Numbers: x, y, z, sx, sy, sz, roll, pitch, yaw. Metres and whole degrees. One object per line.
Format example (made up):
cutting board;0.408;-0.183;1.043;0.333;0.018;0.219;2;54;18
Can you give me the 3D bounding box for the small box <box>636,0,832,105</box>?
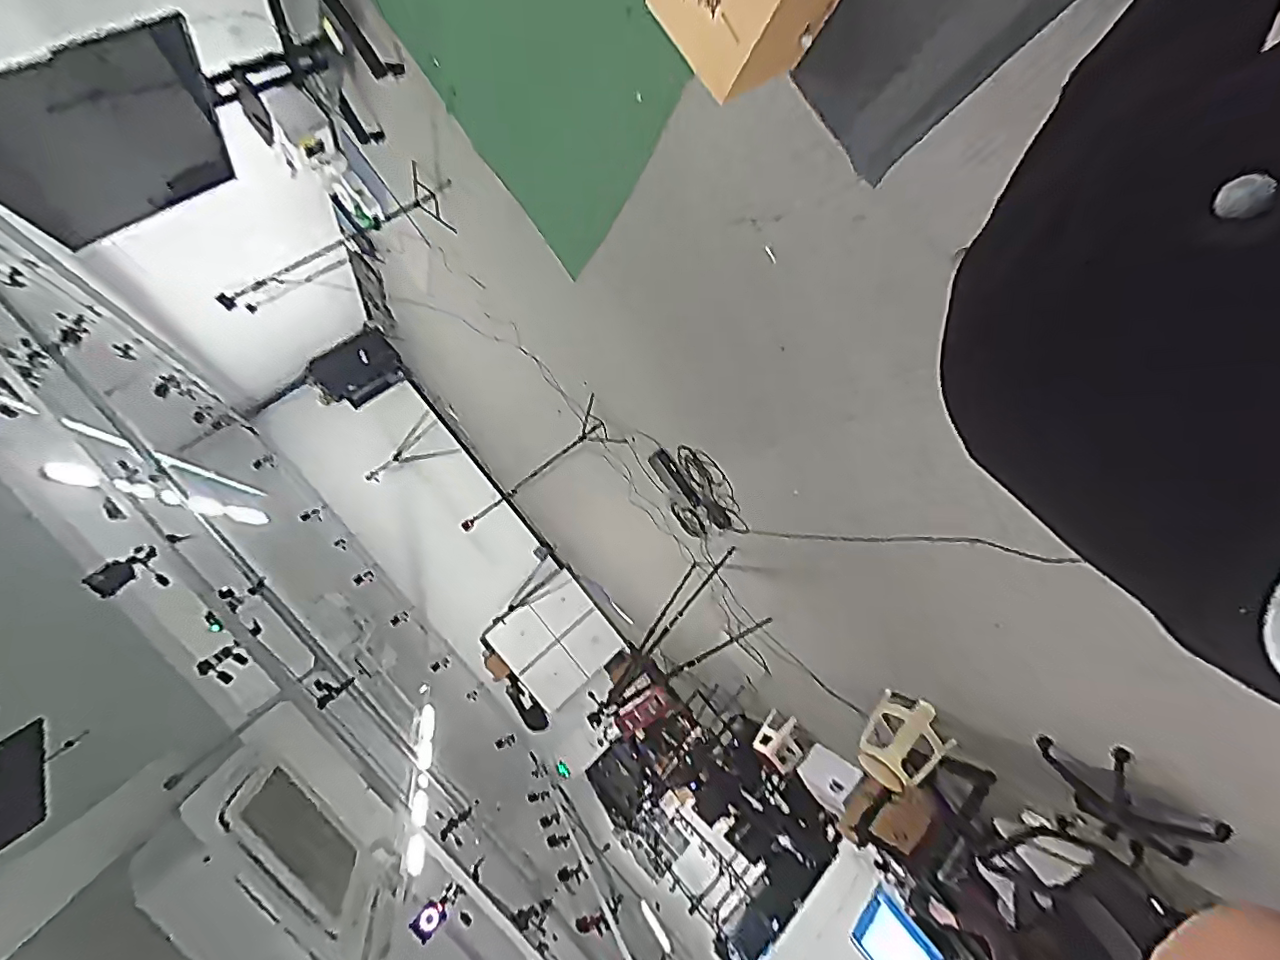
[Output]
small box;0.130;-0.643;0.696;0.179;0.176;0.168;52;159;-4
